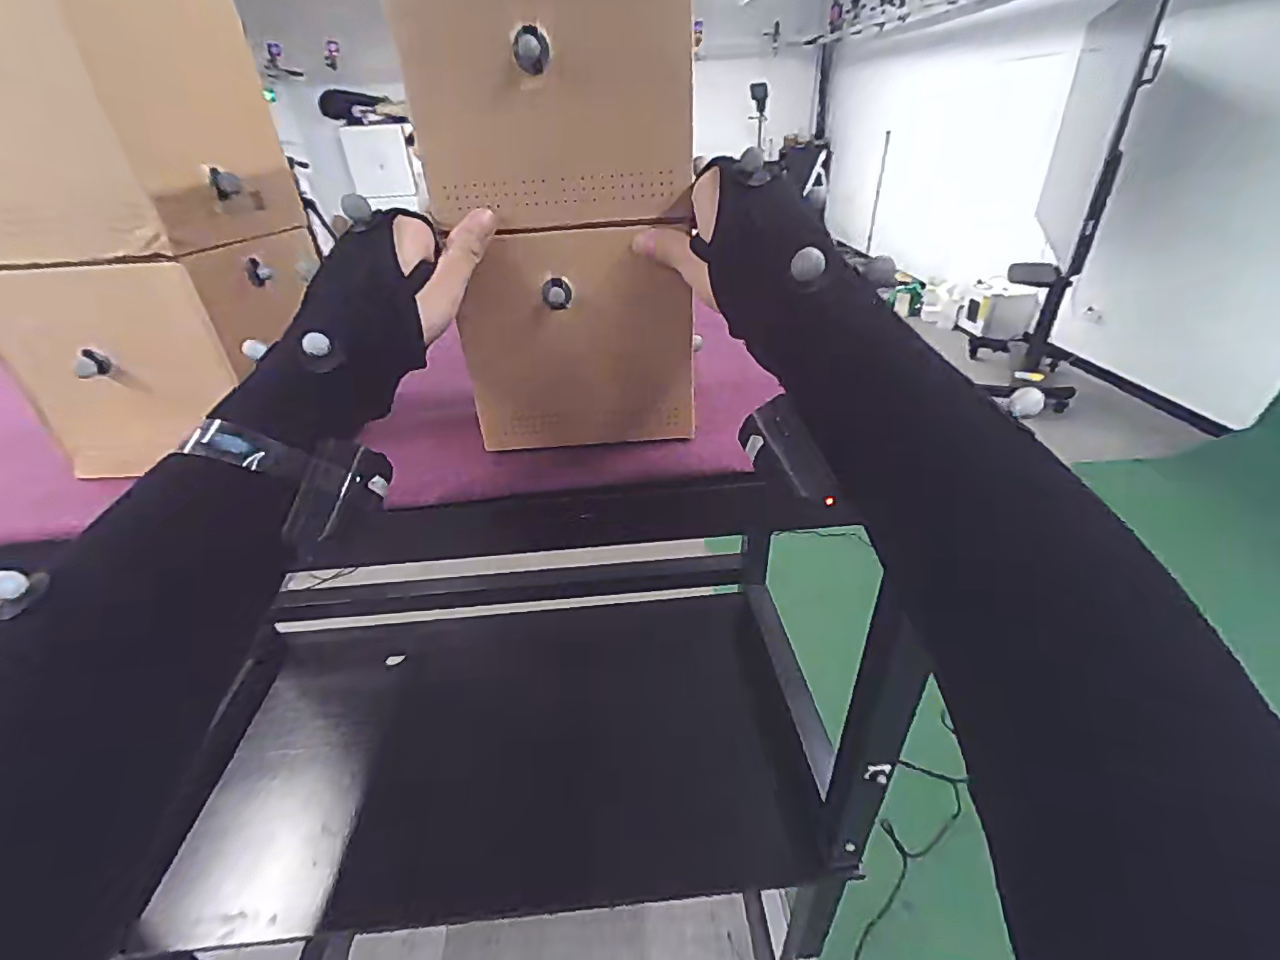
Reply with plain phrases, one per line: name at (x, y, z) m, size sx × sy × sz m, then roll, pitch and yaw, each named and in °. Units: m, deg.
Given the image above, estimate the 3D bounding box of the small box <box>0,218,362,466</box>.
small box at (-0.384, -0.122, 0.472) m, size 0.179 × 0.176 × 0.168 m, roll -4°, pitch 32°, yaw 2°

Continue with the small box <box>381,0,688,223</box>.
small box at (-0.058, -0.286, 0.385) m, size 0.179 × 0.176 × 0.168 m, roll -5°, pitch 31°, yaw 1°

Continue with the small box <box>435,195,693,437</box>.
small box at (-0.049, -0.146, 0.470) m, size 0.179 × 0.176 × 0.168 m, roll -3°, pitch 32°, yaw 1°

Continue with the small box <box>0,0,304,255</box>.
small box at (-0.391, -0.261, 0.385) m, size 0.179 × 0.176 × 0.168 m, roll -2°, pitch 33°, yaw 2°
